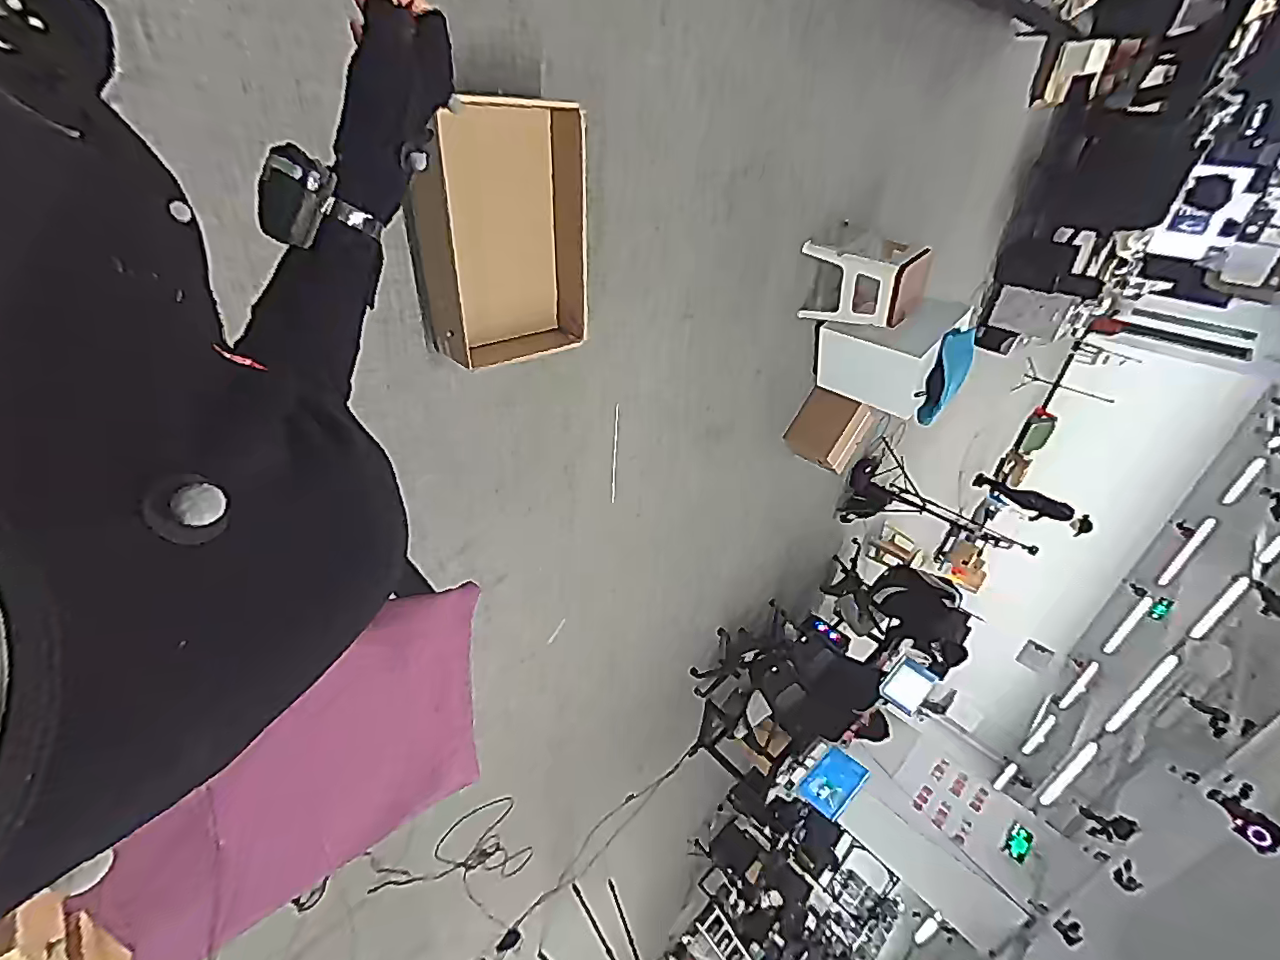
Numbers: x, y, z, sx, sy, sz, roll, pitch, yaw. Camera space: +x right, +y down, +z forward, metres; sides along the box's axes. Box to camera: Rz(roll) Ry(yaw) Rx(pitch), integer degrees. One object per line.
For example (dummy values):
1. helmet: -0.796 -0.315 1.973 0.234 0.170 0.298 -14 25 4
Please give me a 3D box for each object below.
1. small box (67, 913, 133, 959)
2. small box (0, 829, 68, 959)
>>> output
1. small box: -0.817 0.746 0.734 0.168 0.176 0.179 -23 132 -38
2. small box: -0.789 0.553 0.615 0.168 0.176 0.179 -18 129 -42
